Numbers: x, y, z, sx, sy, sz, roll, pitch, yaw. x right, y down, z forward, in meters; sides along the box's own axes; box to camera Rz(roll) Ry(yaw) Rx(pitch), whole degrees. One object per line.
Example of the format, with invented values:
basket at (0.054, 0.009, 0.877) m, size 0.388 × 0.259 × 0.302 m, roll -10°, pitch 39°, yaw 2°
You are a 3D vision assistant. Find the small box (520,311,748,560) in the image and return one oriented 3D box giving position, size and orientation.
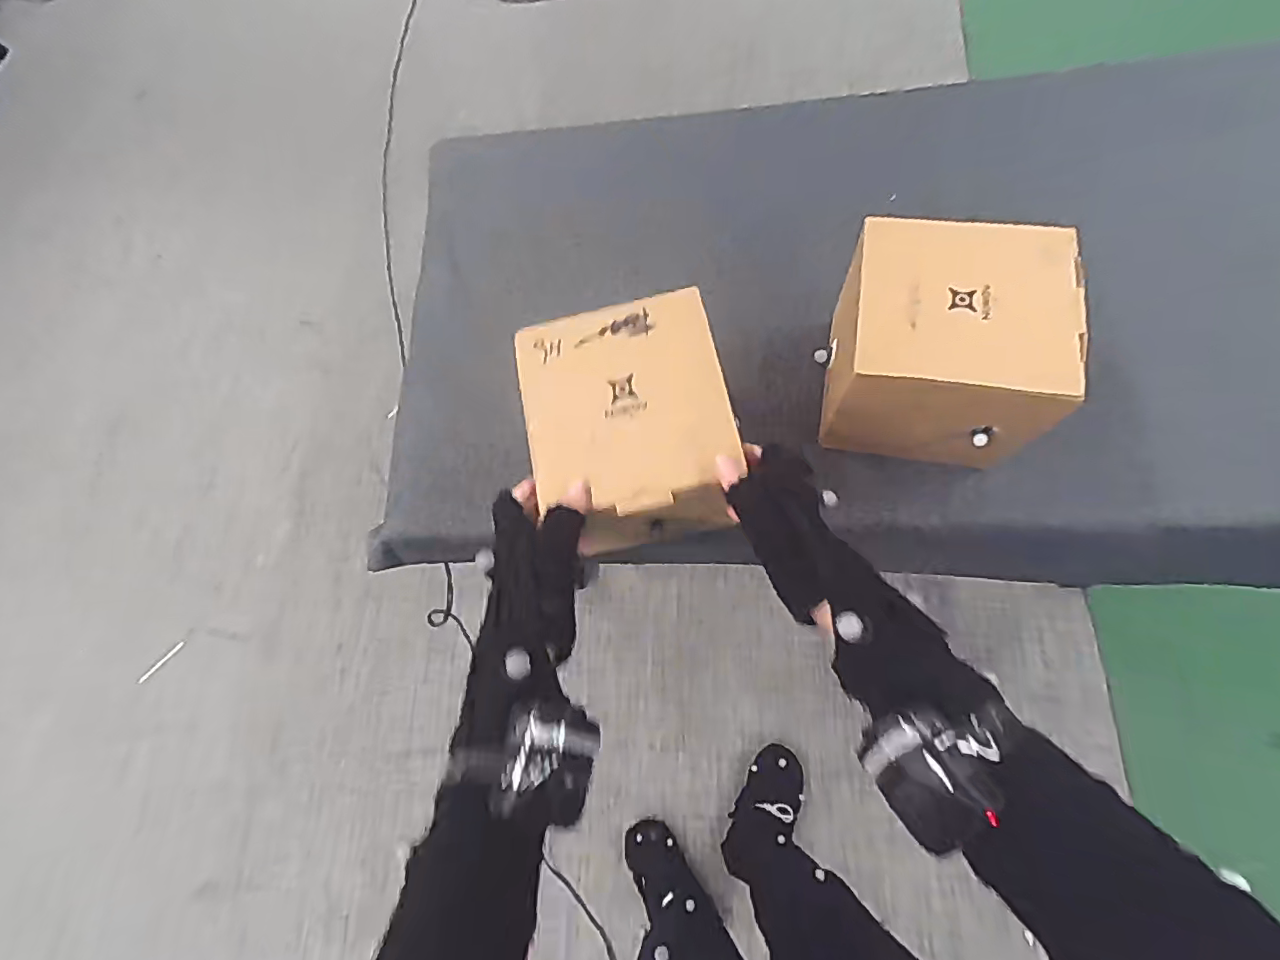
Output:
small box at (0.001, -0.025, 0.515) m, size 0.168 × 0.176 × 0.179 m, roll -13°, pitch 74°, yaw 4°

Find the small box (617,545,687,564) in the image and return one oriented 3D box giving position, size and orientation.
small box at (0.021, 0.102, 1.275) m, size 0.168 × 0.176 × 0.179 m, roll -4°, pitch 71°, yaw 5°

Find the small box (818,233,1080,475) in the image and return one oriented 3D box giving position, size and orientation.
small box at (0.290, -0.114, 0.539) m, size 0.179 × 0.176 × 0.168 m, roll 9°, pitch 73°, yaw 11°
